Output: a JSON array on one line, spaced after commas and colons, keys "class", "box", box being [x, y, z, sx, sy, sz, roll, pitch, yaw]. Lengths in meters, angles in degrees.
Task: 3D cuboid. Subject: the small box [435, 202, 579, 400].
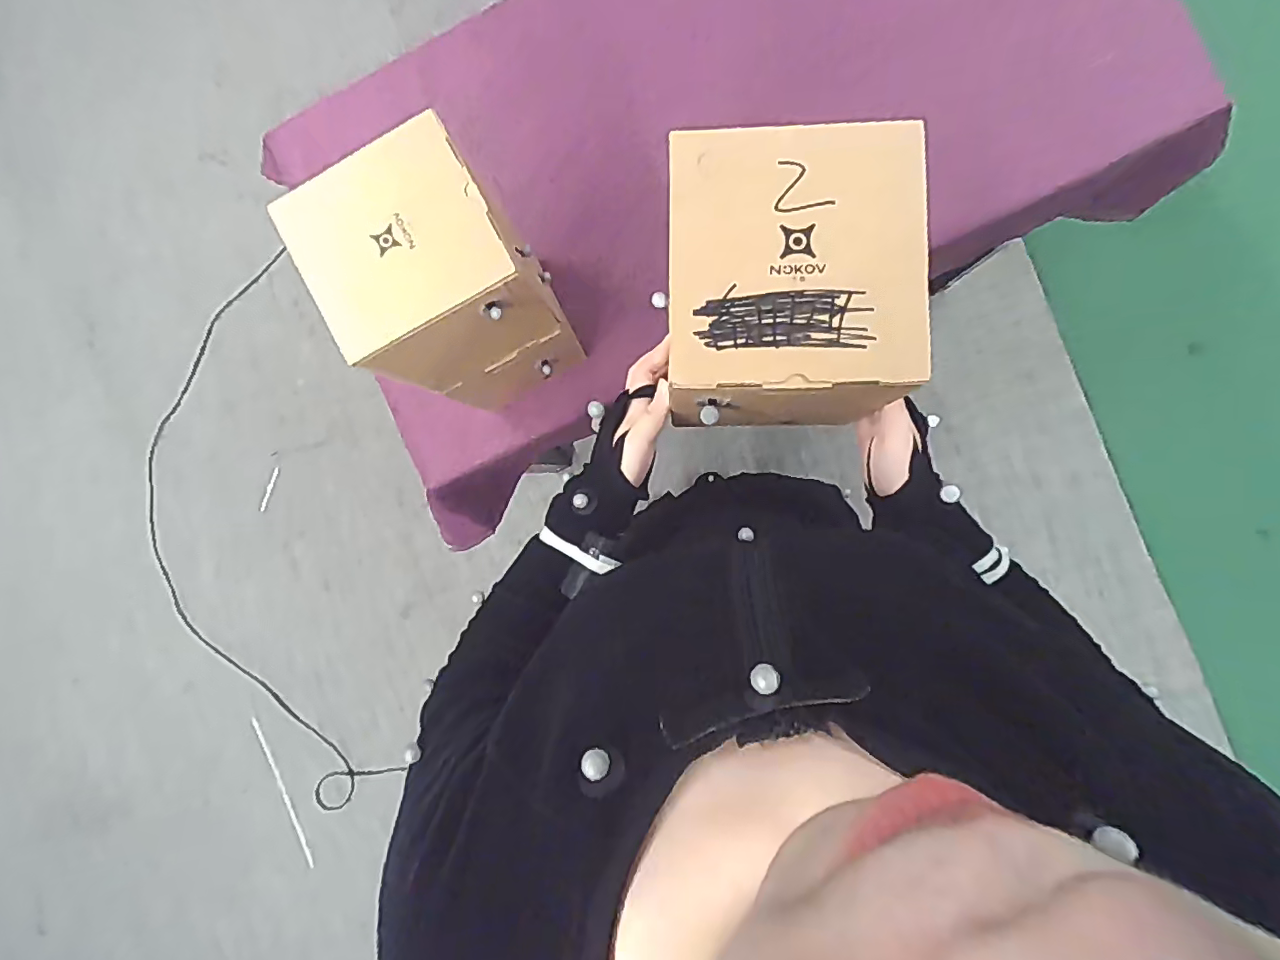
[{"class": "small box", "box": [-0.197, -0.218, 0.714, 0.168, 0.176, 0.179, -26, 88, 4]}]

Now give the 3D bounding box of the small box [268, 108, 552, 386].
[{"class": "small box", "box": [-0.214, -0.214, 0.553, 0.179, 0.176, 0.168, -28, 89, 3]}]
